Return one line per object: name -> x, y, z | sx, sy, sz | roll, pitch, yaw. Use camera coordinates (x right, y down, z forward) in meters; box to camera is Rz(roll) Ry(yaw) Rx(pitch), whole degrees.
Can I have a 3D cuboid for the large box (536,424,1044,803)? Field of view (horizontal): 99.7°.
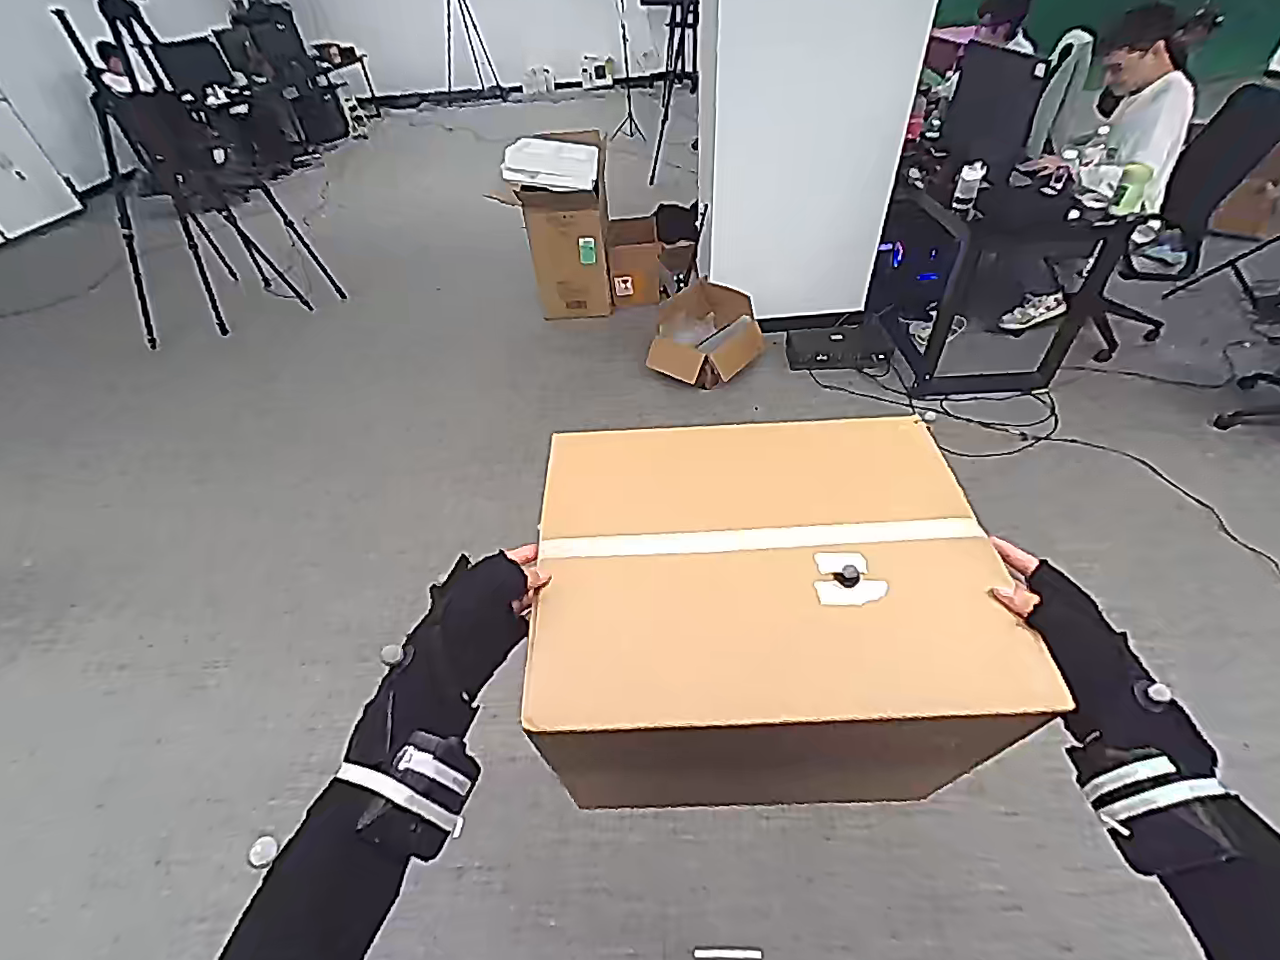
large box -> 0.115, 0.159, 0.625 | 0.408, 0.320, 0.320 | -3, 50, 1
